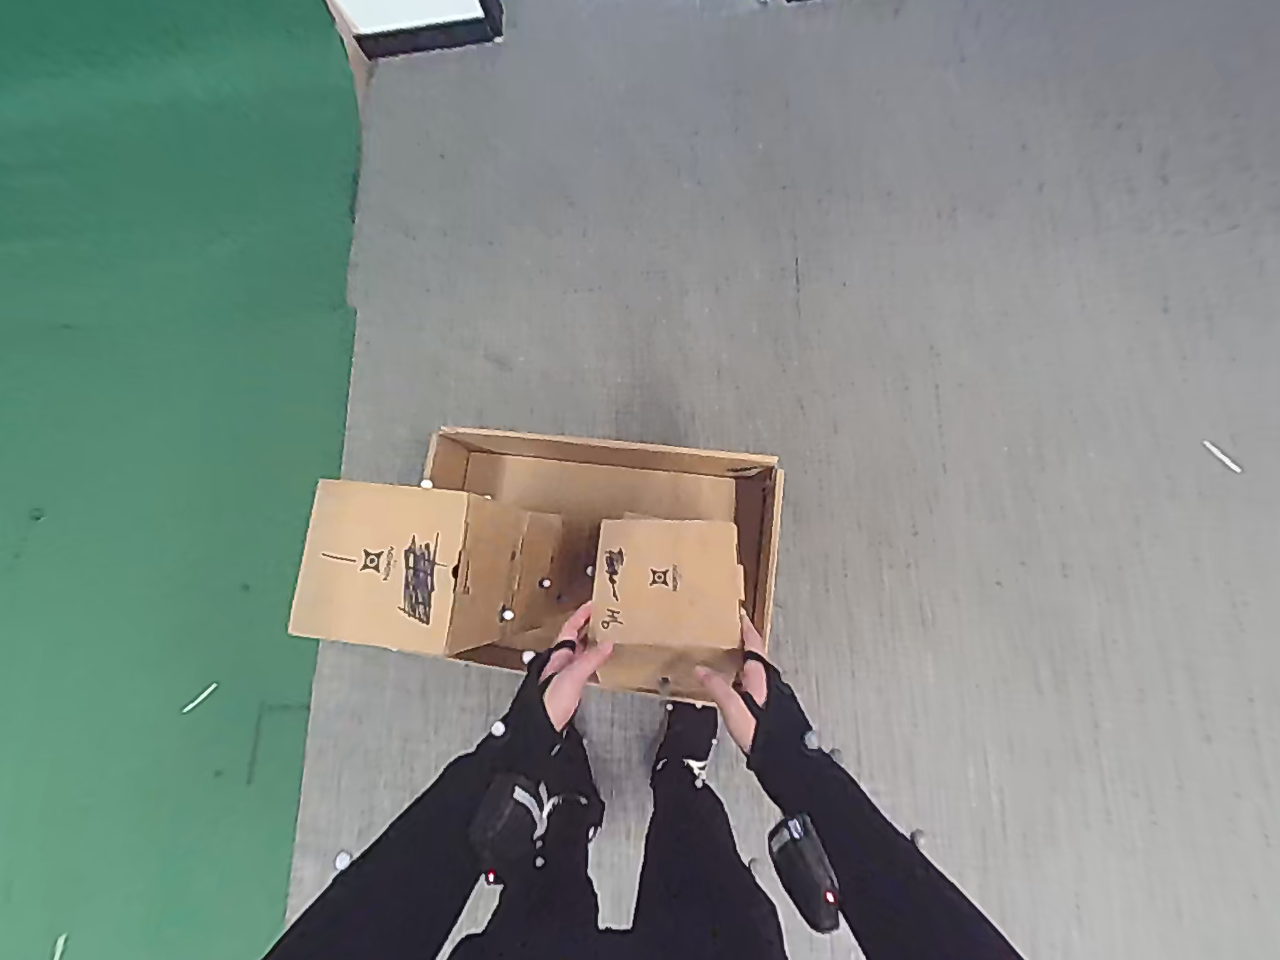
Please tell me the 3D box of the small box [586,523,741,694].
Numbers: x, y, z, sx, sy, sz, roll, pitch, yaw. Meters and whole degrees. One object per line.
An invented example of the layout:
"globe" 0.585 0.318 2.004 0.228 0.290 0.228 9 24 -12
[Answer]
"small box" 0.034 0.172 0.714 0.179 0.176 0.168 1 52 5

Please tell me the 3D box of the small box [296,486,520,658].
"small box" -0.259 0.105 0.647 0.179 0.176 0.168 4 81 9
